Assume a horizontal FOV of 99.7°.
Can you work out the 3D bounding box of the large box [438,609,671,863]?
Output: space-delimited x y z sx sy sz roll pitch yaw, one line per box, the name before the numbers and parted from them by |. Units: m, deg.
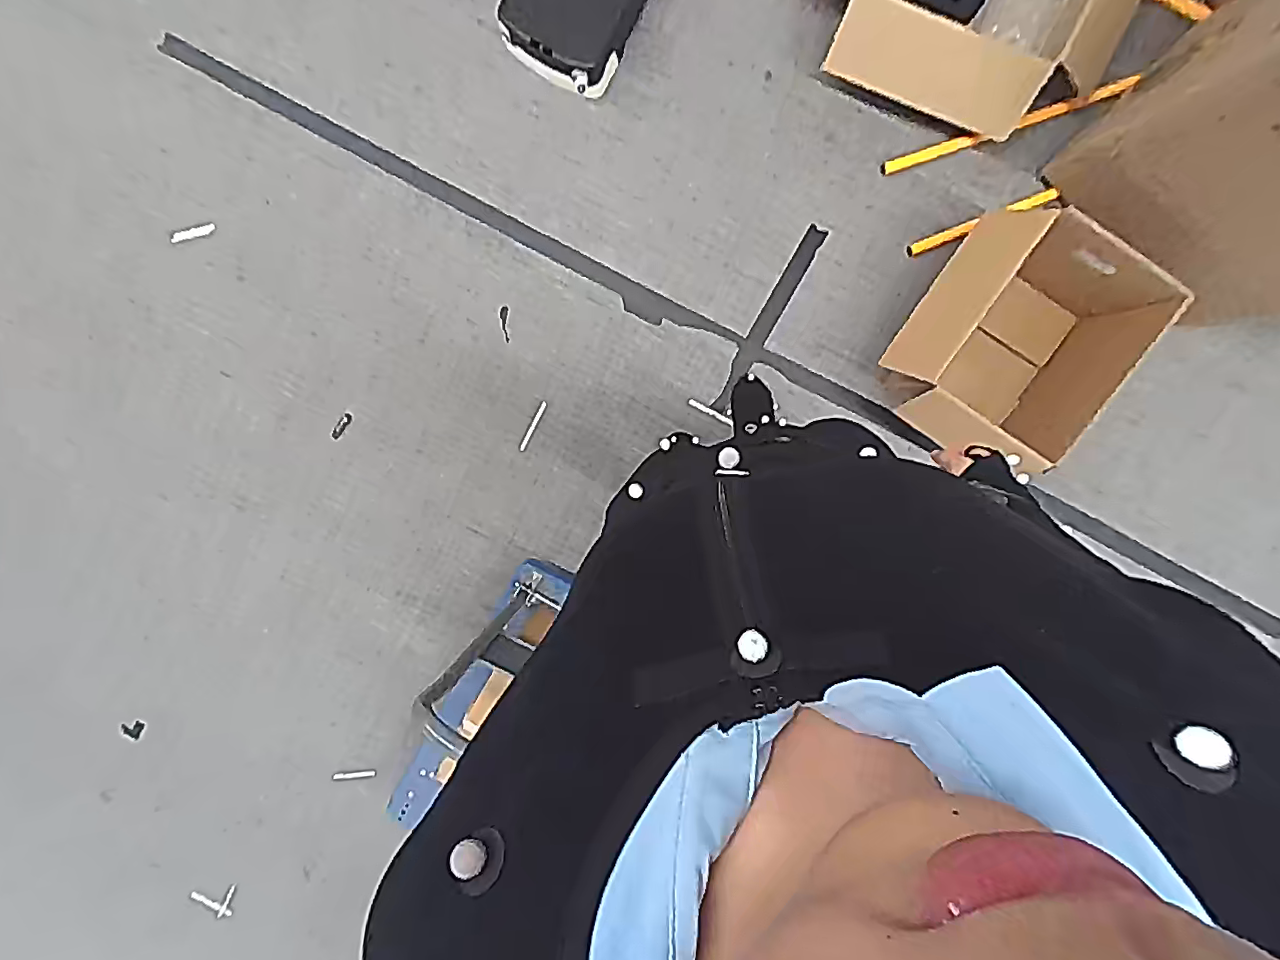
large box | -0.175 0.574 1.276 0.408 0.320 0.320 30 99 1
